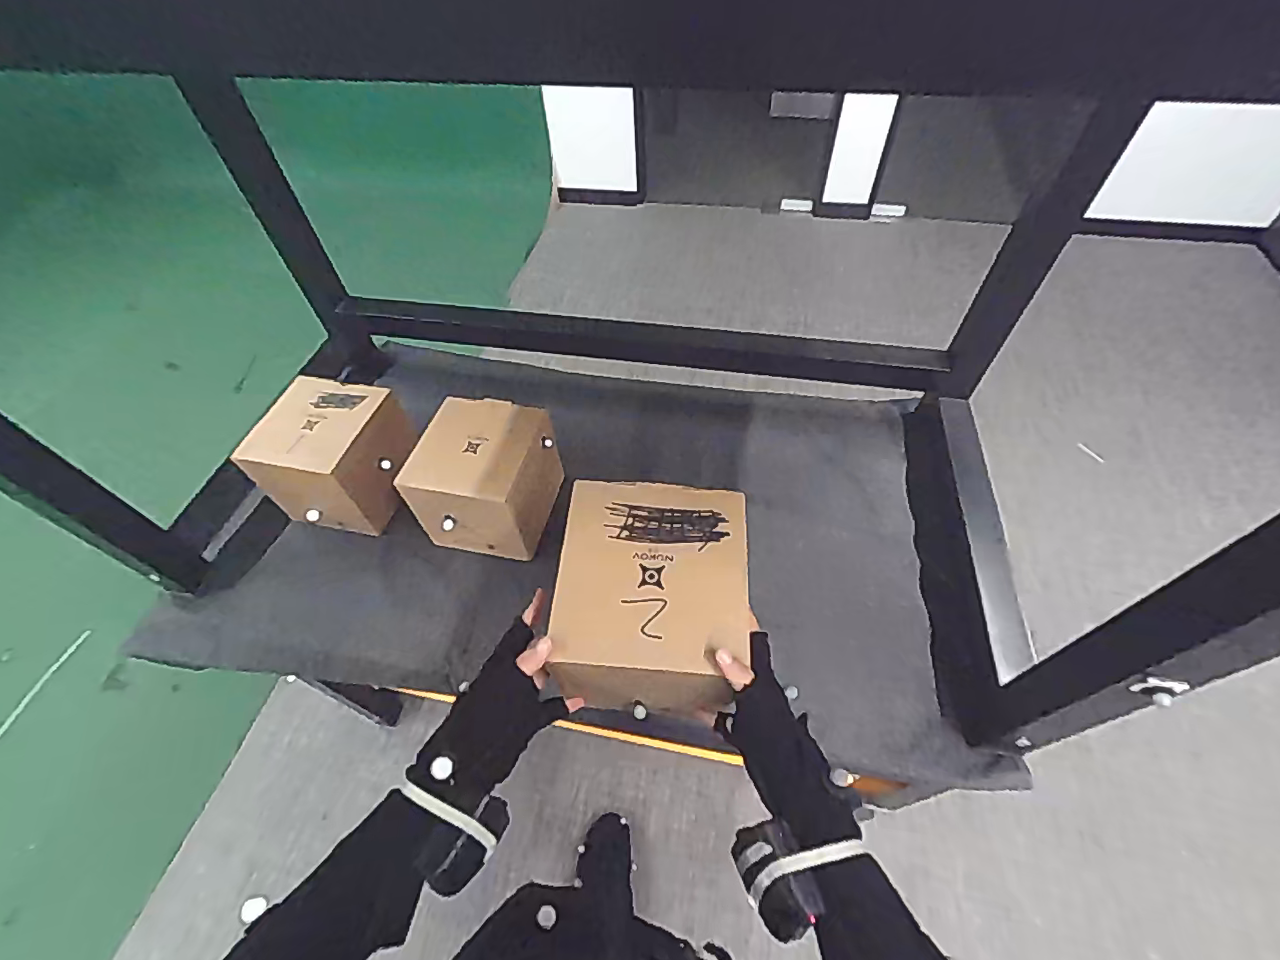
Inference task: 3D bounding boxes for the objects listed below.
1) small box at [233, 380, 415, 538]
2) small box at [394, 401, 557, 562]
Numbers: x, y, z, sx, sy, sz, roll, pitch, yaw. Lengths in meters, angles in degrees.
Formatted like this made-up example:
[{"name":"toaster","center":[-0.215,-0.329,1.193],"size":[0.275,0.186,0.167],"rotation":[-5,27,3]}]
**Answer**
[{"name":"small box","center":[-0.484,-0.032,0.871],"size":[0.168,0.176,0.179],"rotation":[9,54,9]},{"name":"small box","center":[-0.236,0.005,0.835],"size":[0.168,0.176,0.179],"rotation":[9,53,9]}]
